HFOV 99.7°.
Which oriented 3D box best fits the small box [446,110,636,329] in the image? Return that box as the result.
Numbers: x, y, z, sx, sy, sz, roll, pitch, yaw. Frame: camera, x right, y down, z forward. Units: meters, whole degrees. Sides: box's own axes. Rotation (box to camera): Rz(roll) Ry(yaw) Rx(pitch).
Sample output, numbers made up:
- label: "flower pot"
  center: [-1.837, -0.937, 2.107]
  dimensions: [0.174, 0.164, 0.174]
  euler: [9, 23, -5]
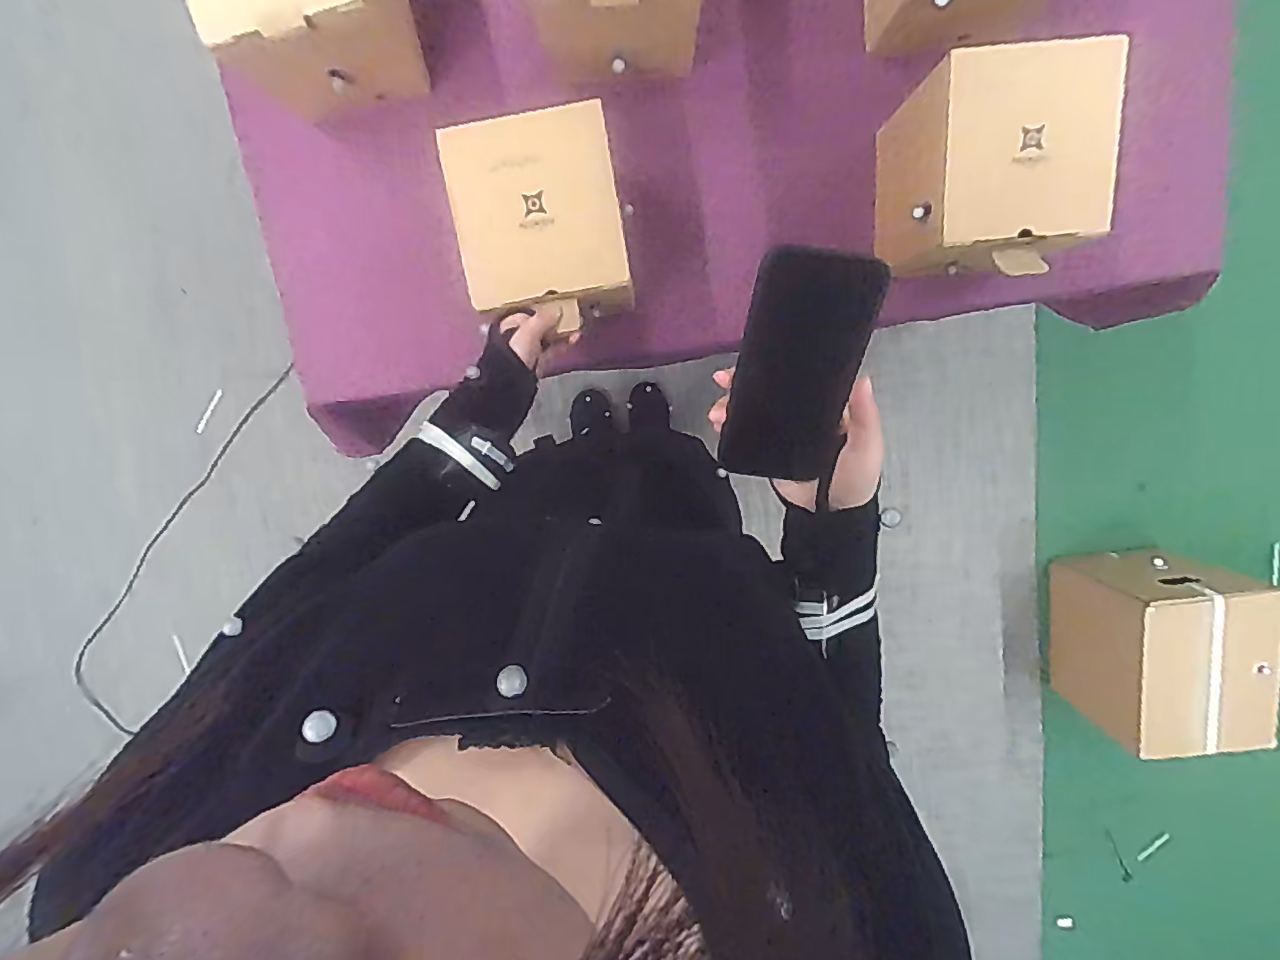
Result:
- label: "small box"
  center: [-0.097, -0.275, 0.617]
  dimensions: [0.168, 0.176, 0.179]
  euler: [-9, 98, 1]

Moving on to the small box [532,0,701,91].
- label: "small box"
  center: [-0.025, -0.548, 0.565]
  dimensions: [0.168, 0.176, 0.179]
  euler: [-1, 101, 2]

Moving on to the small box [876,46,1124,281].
- label: "small box"
  center: [0.376, -0.330, 0.599]
  dimensions: [0.168, 0.176, 0.179]
  euler: [-3, 101, 2]

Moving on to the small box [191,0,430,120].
- label: "small box"
  center: [-0.350, -0.519, 0.578]
  dimensions: [0.168, 0.176, 0.179]
  euler: [-12, 101, 3]
